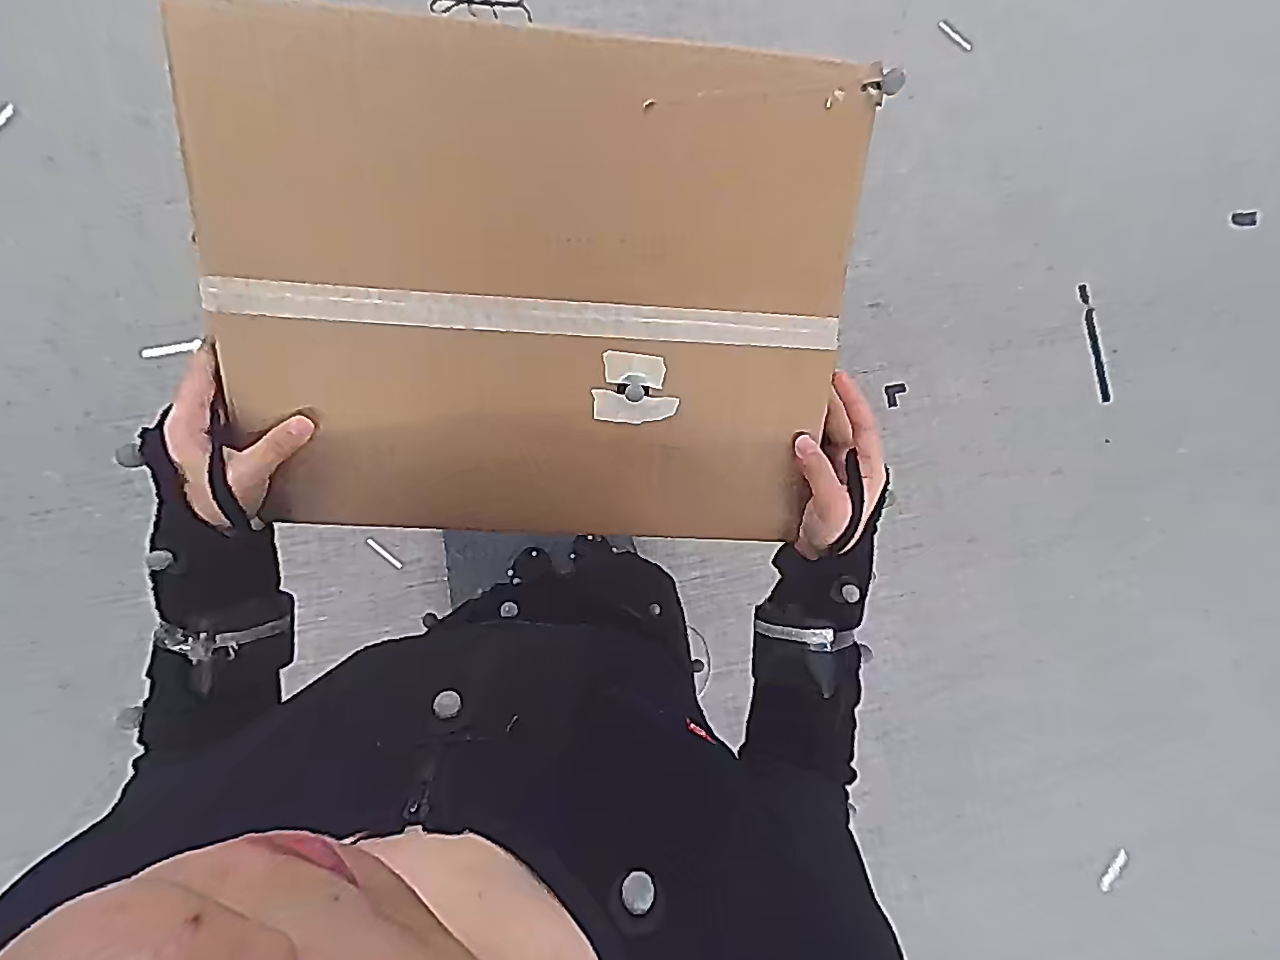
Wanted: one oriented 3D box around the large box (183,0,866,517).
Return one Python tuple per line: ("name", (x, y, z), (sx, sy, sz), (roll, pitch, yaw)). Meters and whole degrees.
("large box", (-0.078, -0.167, 0.500), (0.408, 0.320, 0.320), (3, 109, -5))
